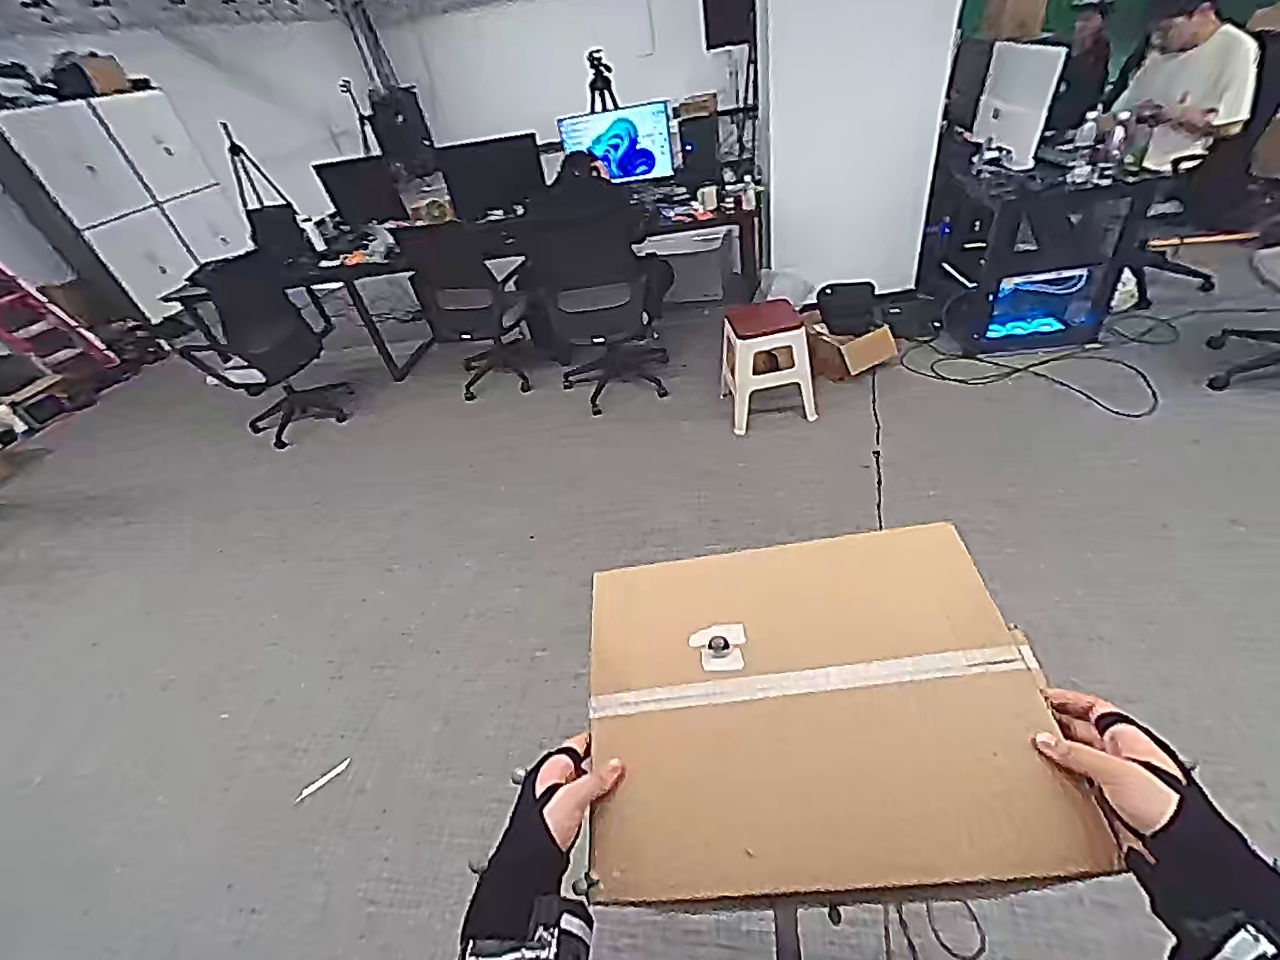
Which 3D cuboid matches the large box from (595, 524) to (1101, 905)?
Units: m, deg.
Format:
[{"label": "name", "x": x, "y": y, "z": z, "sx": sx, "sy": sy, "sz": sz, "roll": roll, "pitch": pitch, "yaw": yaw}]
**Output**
[{"label": "large box", "x": 0.184, "y": 0.292, "z": 0.637, "sx": 0.408, "sy": 0.320, "sz": 0.320, "roll": -11, "pitch": 48, "yaw": 9}]
